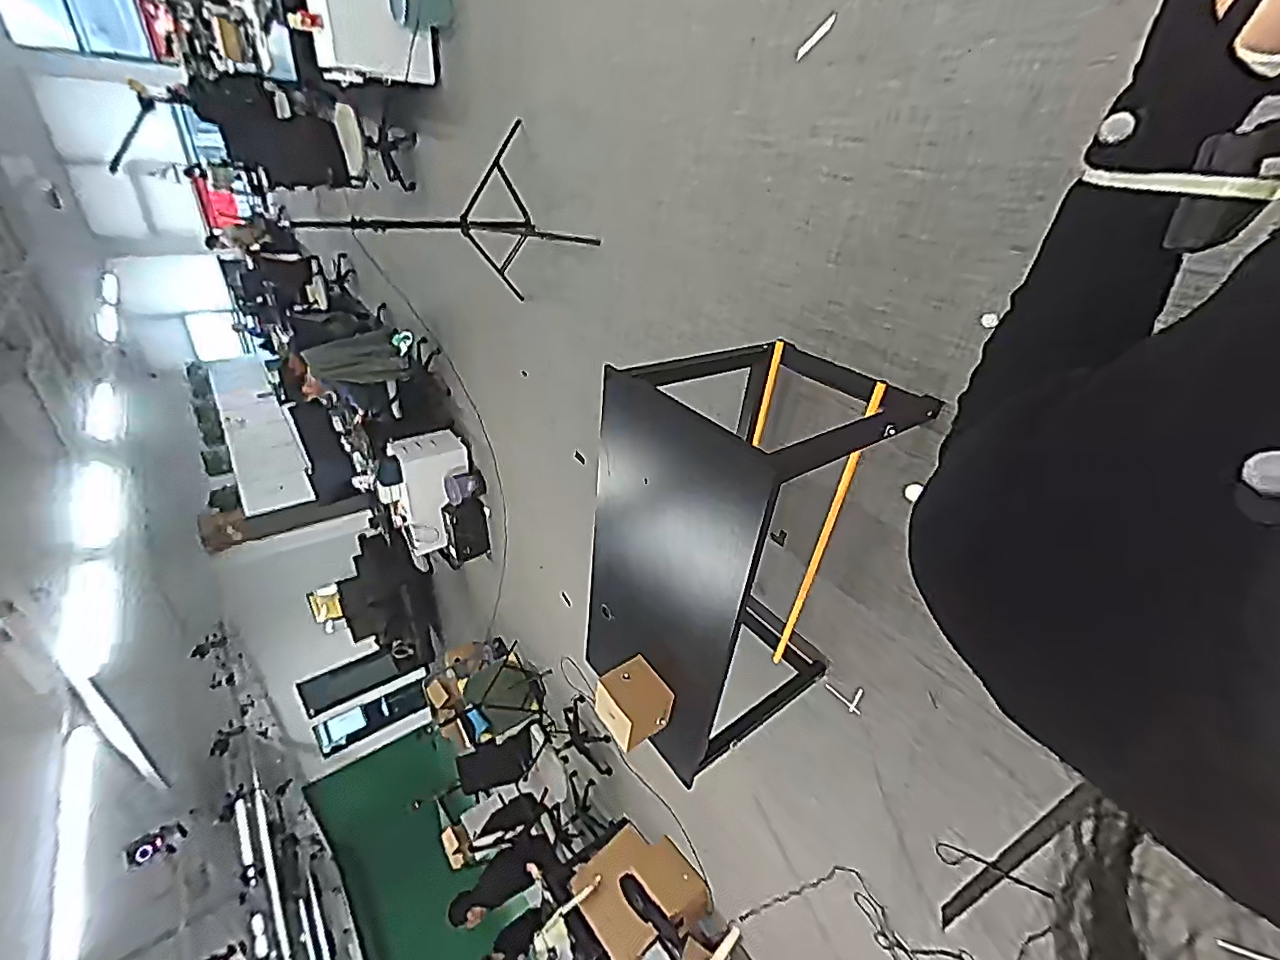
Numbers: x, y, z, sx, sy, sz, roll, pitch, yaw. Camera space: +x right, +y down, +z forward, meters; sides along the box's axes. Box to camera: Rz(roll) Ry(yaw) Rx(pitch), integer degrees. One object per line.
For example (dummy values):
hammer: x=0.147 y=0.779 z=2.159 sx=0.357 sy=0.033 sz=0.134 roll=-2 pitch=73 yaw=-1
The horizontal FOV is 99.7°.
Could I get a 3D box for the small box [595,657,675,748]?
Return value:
small box: x=-0.019 y=0.678 z=1.675 sx=0.179 sy=0.176 sz=0.168 roll=39 pitch=136 yaw=38
